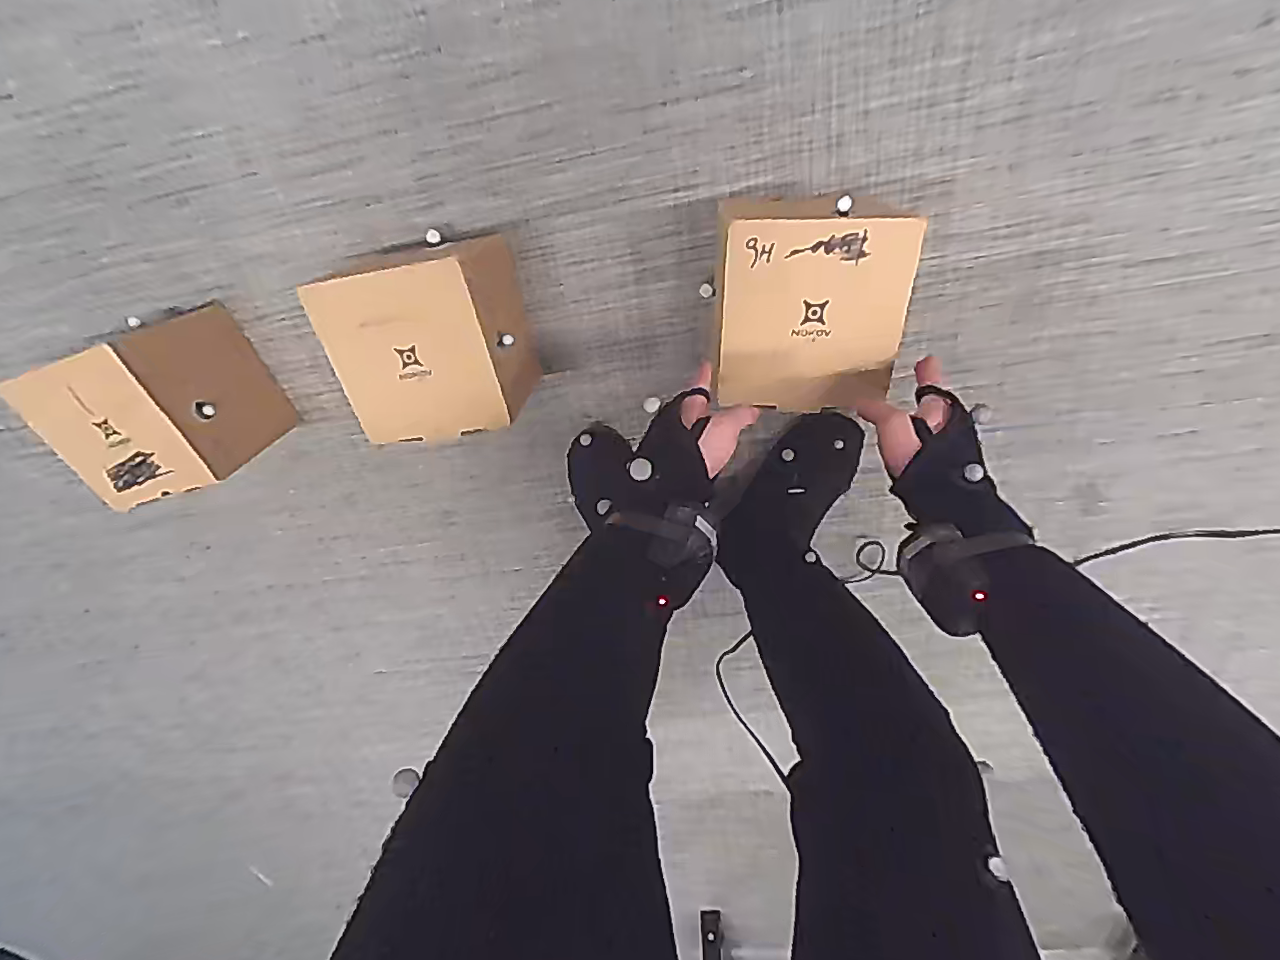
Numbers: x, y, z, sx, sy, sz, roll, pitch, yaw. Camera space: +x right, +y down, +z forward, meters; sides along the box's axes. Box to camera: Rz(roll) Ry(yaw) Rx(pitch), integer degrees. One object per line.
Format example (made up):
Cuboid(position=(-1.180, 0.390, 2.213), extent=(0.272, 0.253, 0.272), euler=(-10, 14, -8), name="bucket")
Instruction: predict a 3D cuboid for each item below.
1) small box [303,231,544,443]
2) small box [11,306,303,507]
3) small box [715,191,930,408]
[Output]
Cuboid(position=(-0.220, -0.164, 0.610), extent=(0.168, 0.176, 0.179), euler=(-8, 120, 8), name="small box")
Cuboid(position=(-0.578, -0.096, 0.680), extent=(0.168, 0.176, 0.179), euler=(-14, 120, 12), name="small box")
Cuboid(position=(0.166, -0.191, 0.560), extent=(0.168, 0.176, 0.179), euler=(2, 124, 5), name="small box")
